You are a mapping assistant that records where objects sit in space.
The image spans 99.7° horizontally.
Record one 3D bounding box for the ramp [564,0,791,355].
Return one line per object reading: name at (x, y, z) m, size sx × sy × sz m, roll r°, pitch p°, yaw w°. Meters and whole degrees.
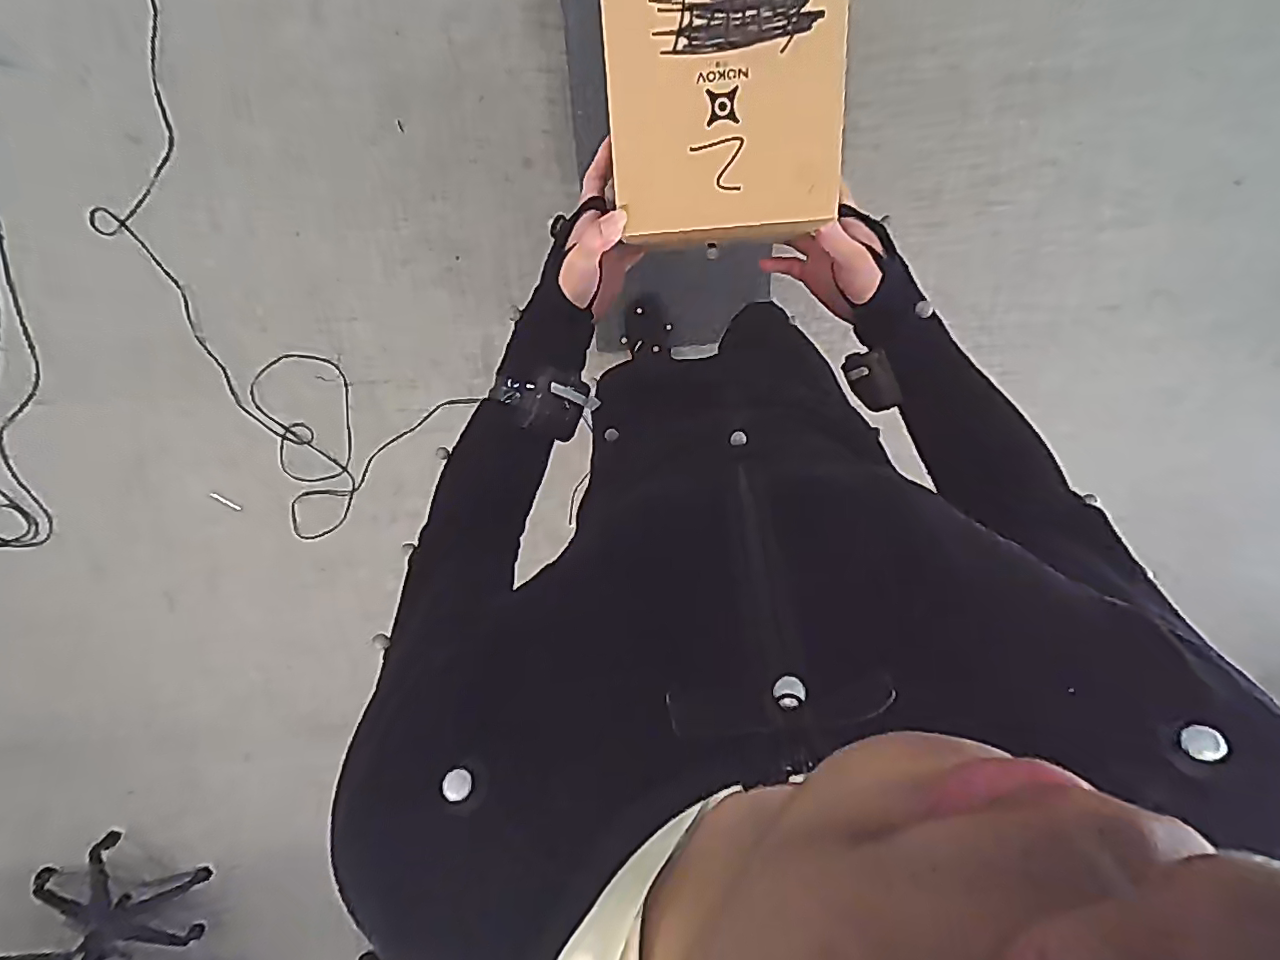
ramp at (0.100, -0.804, 1.281) m, size 0.509 × 0.206 × 0.991 m, roll -6°, pitch 110°, yaw 0°
